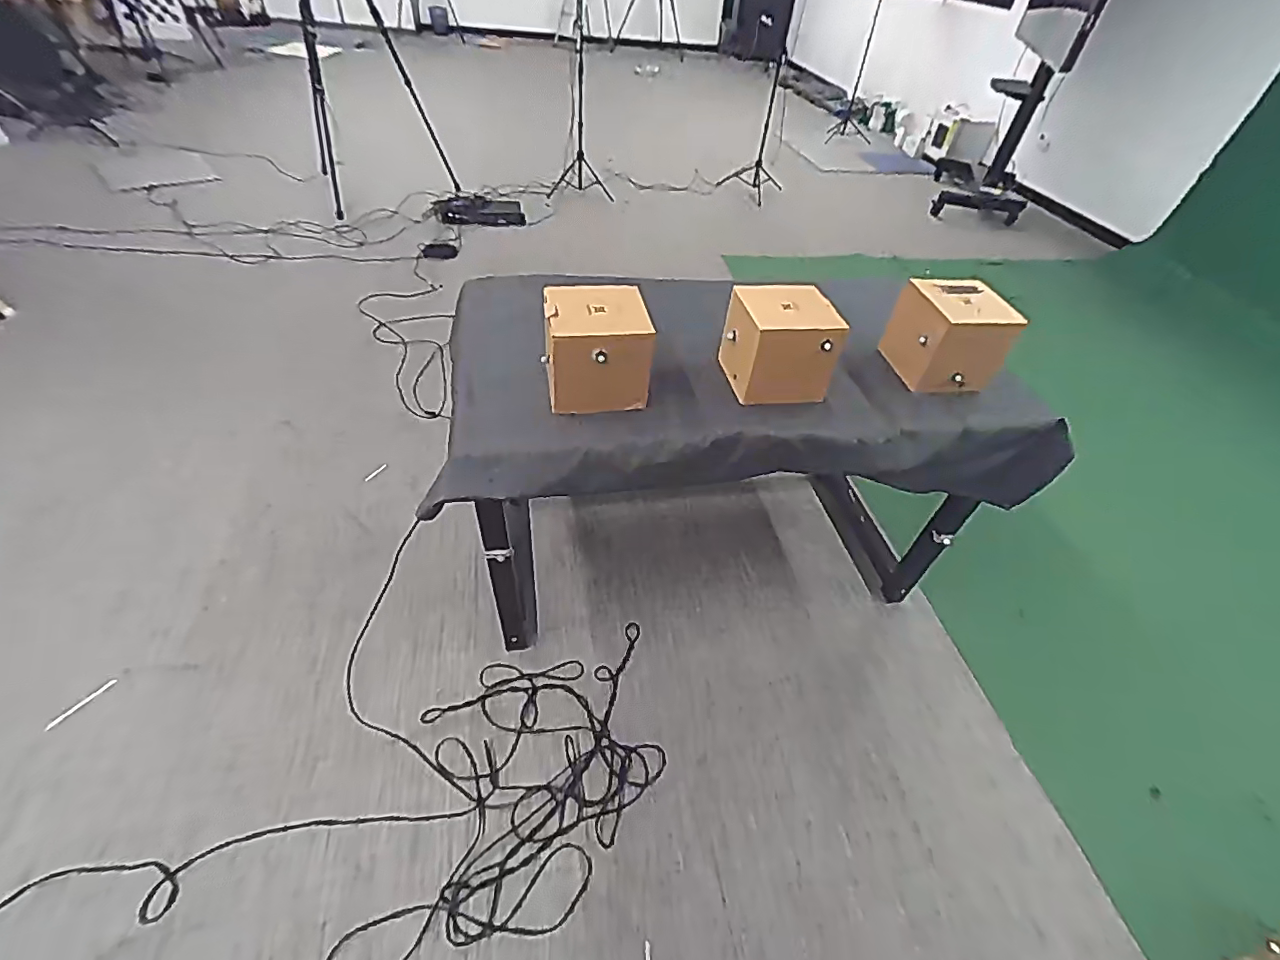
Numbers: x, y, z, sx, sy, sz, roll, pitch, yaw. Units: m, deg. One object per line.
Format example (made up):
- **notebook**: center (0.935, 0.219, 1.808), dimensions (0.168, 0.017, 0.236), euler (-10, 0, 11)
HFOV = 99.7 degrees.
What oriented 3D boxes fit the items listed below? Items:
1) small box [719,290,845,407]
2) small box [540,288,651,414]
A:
- **small box**: center (0.263, -0.256, 1.061), dimensions (0.179, 0.176, 0.168), euler (-4, 46, -11)
- **small box**: center (-0.087, -0.234, 0.992), dimensions (0.179, 0.176, 0.168), euler (-4, 47, -13)
